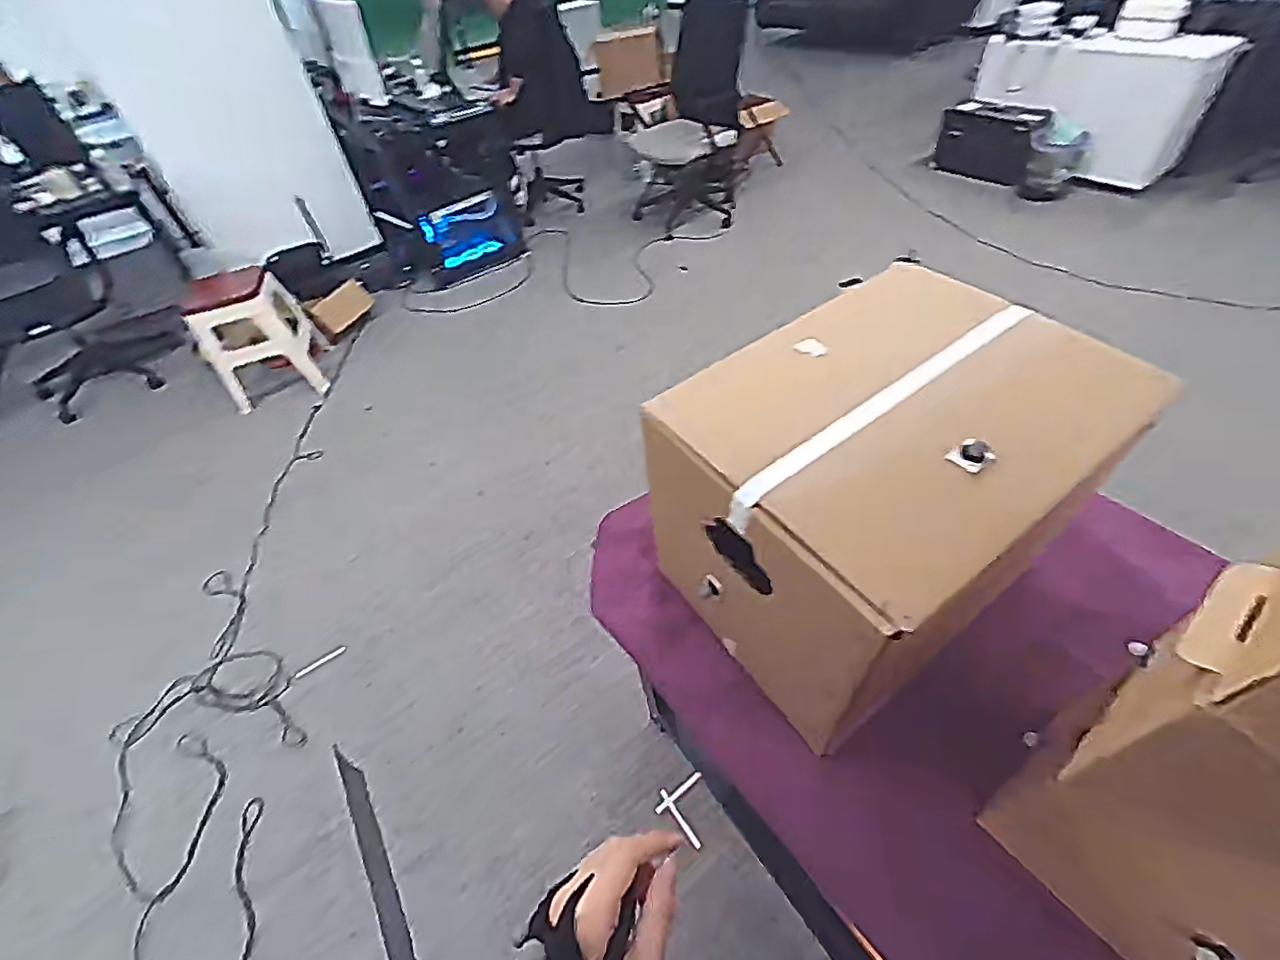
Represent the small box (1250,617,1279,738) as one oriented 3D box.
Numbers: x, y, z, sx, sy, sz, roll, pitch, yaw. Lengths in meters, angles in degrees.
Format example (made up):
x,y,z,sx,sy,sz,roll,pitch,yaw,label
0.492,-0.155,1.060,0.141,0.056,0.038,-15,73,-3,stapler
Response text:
x,y,z,sx,sy,sz,roll,pitch,yaw,label
0.419,0.065,0.212,0.179,0.176,0.168,-35,53,-21,small box
